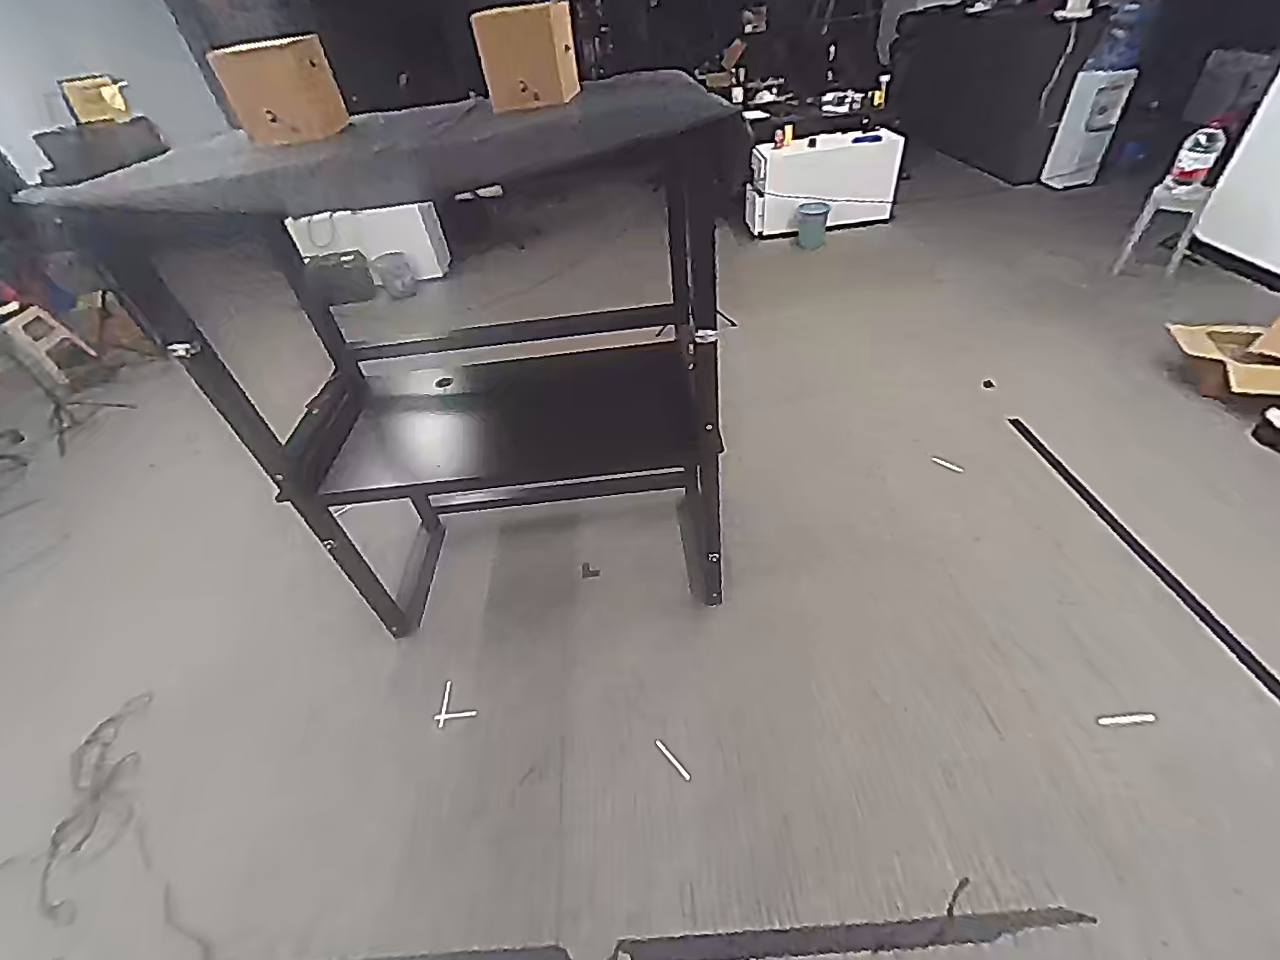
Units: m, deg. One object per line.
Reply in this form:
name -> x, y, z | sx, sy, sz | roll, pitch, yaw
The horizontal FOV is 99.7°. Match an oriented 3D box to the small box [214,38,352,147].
small box -> -0.764, -0.847, 1.183 | 0.168, 0.176, 0.179 | -8, 43, 1
